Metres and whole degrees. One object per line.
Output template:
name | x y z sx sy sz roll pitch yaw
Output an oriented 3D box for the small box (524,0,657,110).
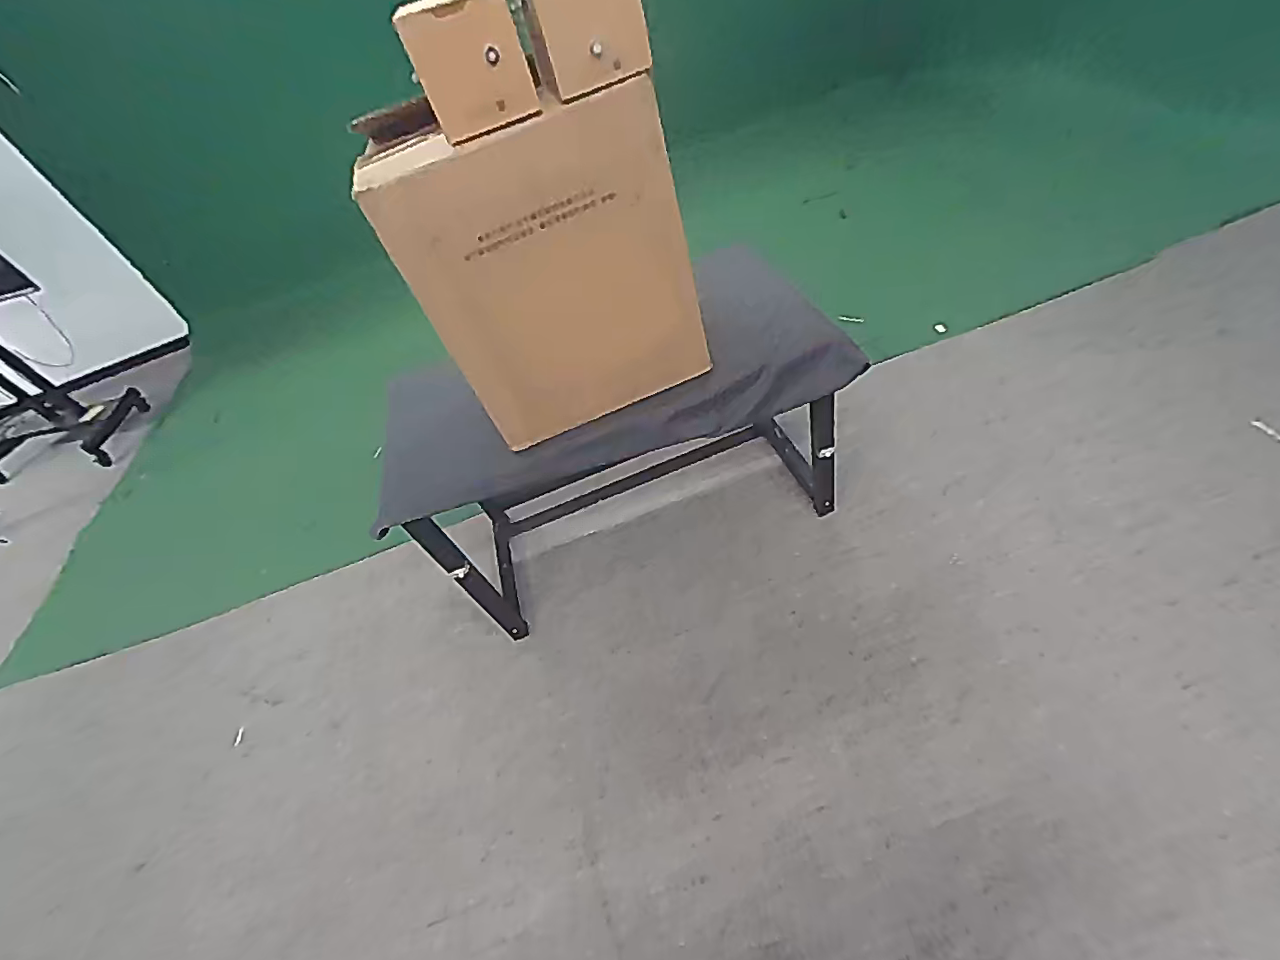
small box | -0.085 -0.746 0.900 0.168 0.176 0.179 -23 47 -2
